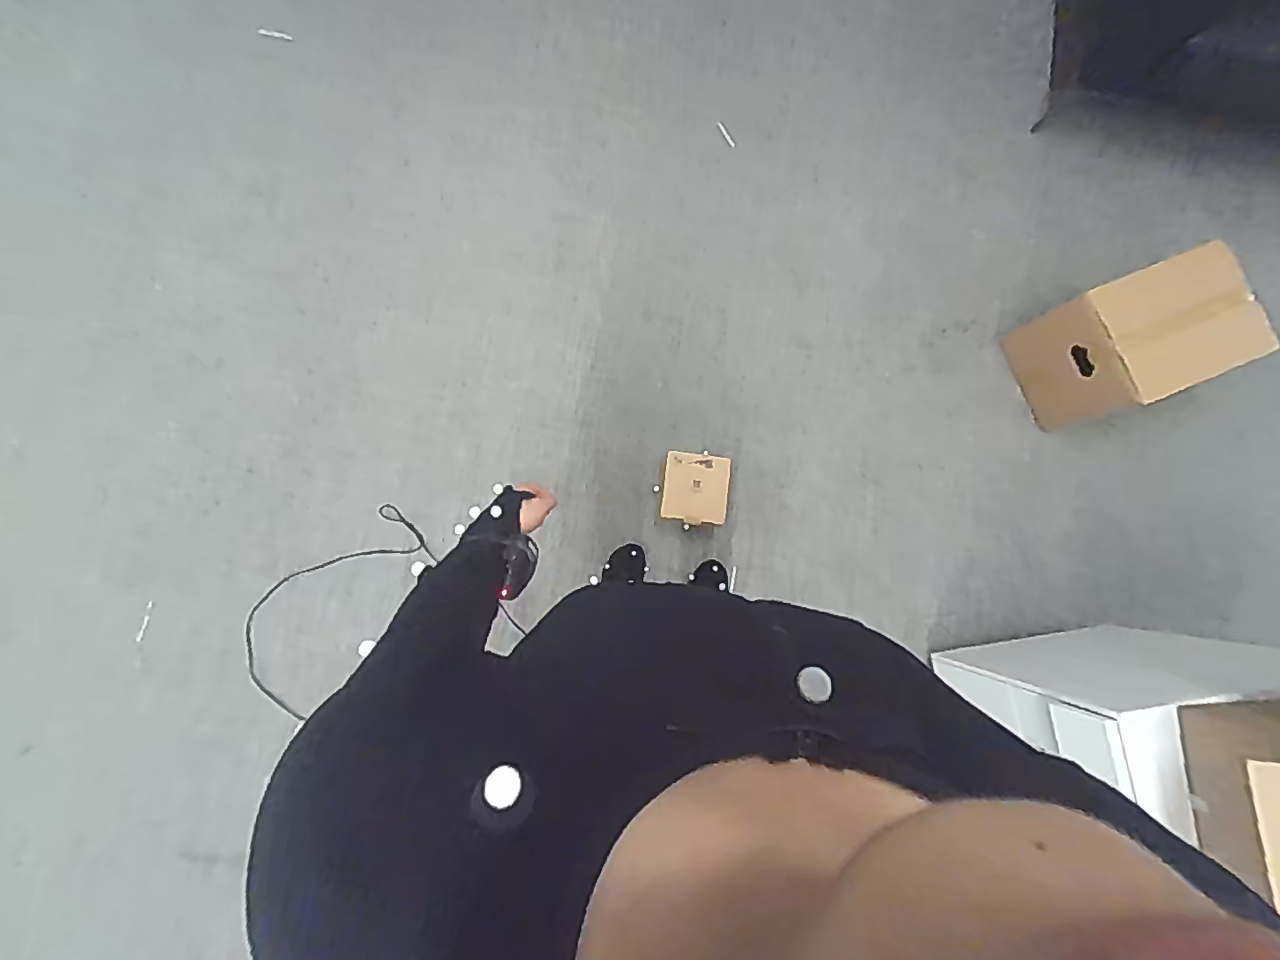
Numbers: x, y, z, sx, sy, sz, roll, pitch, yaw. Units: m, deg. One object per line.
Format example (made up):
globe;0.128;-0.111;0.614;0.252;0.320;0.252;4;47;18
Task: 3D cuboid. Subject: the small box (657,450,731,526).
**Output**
small box;0.139;0.028;1.453;0.168;0.176;0.179;8;82;-2
